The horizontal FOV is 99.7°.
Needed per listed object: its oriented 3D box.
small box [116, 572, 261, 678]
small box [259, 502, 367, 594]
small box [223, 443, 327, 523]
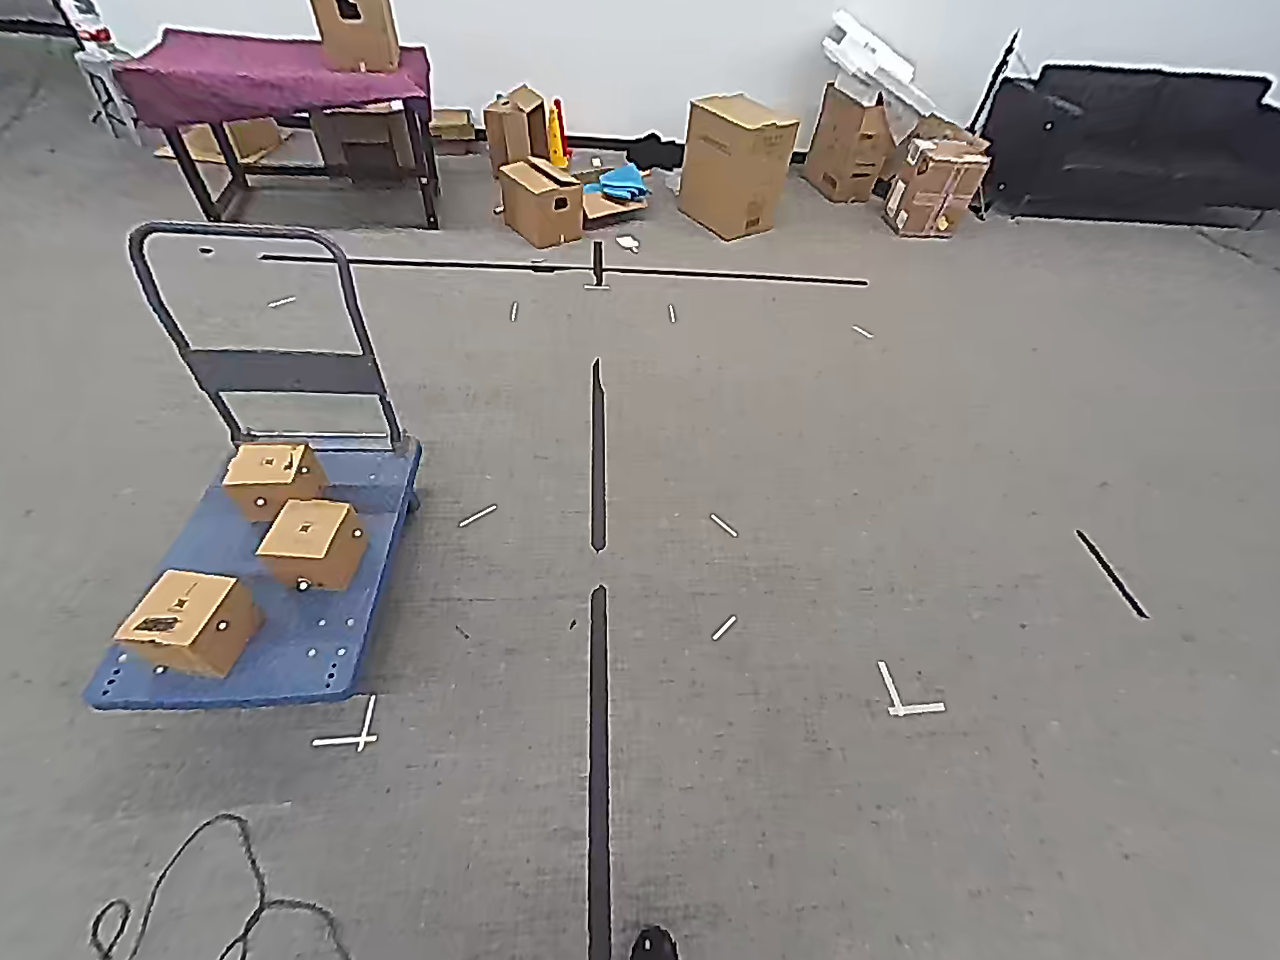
[{"bbox_3d":[-1.038,0.342,1.266,0.168,0.176,0.179,8,47,0],"label":"small box"},{"bbox_3d":[-0.854,0.181,1.436,0.168,0.176,0.179,4,49,-1],"label":"small box"},{"bbox_3d":[-1.044,0.012,1.565,0.179,0.176,0.168,-3,49,-8],"label":"small box"}]
